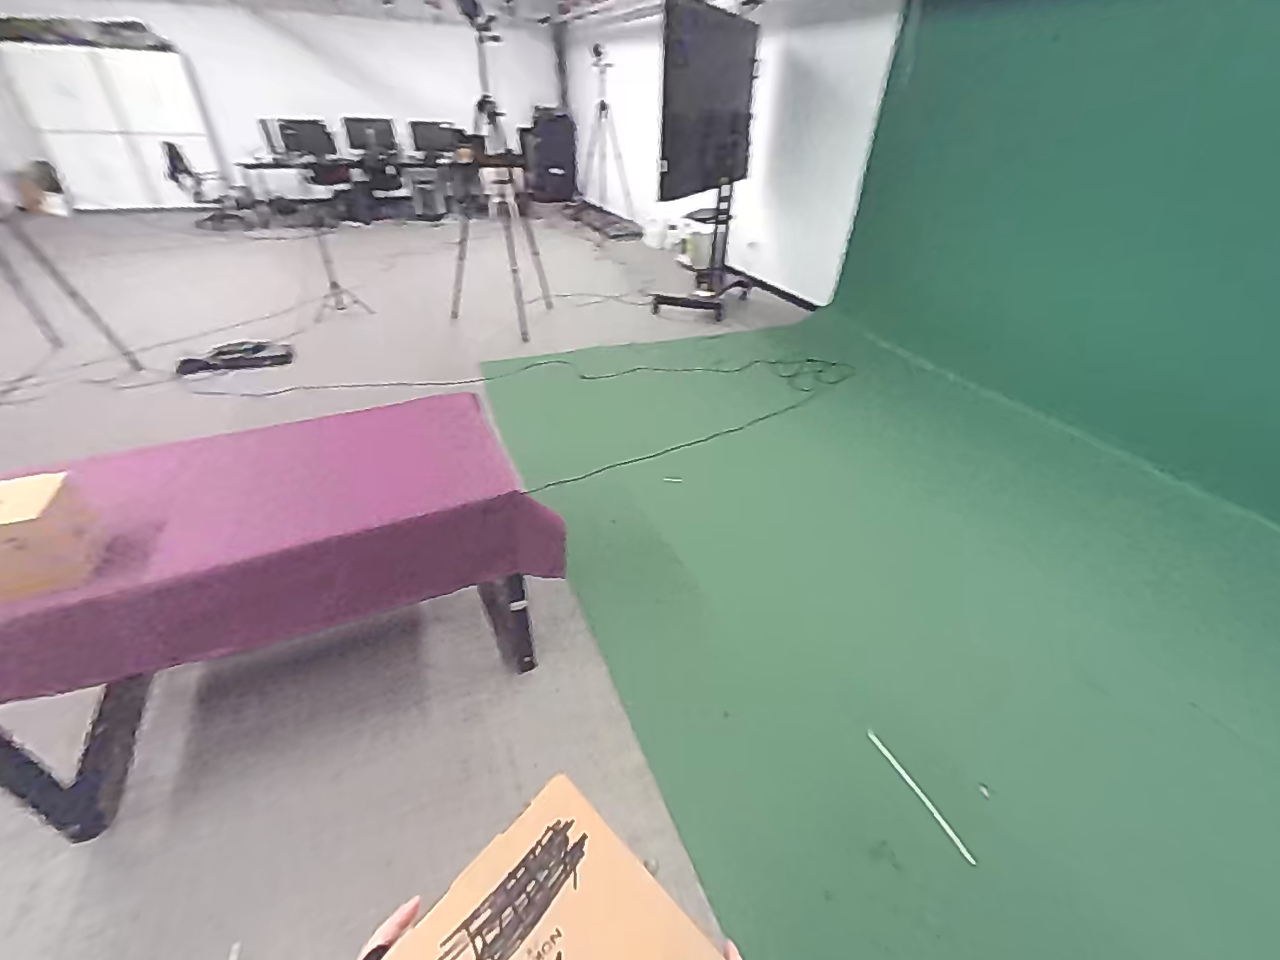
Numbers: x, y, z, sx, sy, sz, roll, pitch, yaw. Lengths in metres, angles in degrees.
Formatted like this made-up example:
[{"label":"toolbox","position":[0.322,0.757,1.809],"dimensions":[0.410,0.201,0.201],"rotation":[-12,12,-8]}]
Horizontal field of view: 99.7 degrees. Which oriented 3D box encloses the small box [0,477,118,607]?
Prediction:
[{"label":"small box","position":[-1.177,0.121,1.048],"dimensions":[0.179,0.176,0.168],"rotation":[-13,37,-20]}]
